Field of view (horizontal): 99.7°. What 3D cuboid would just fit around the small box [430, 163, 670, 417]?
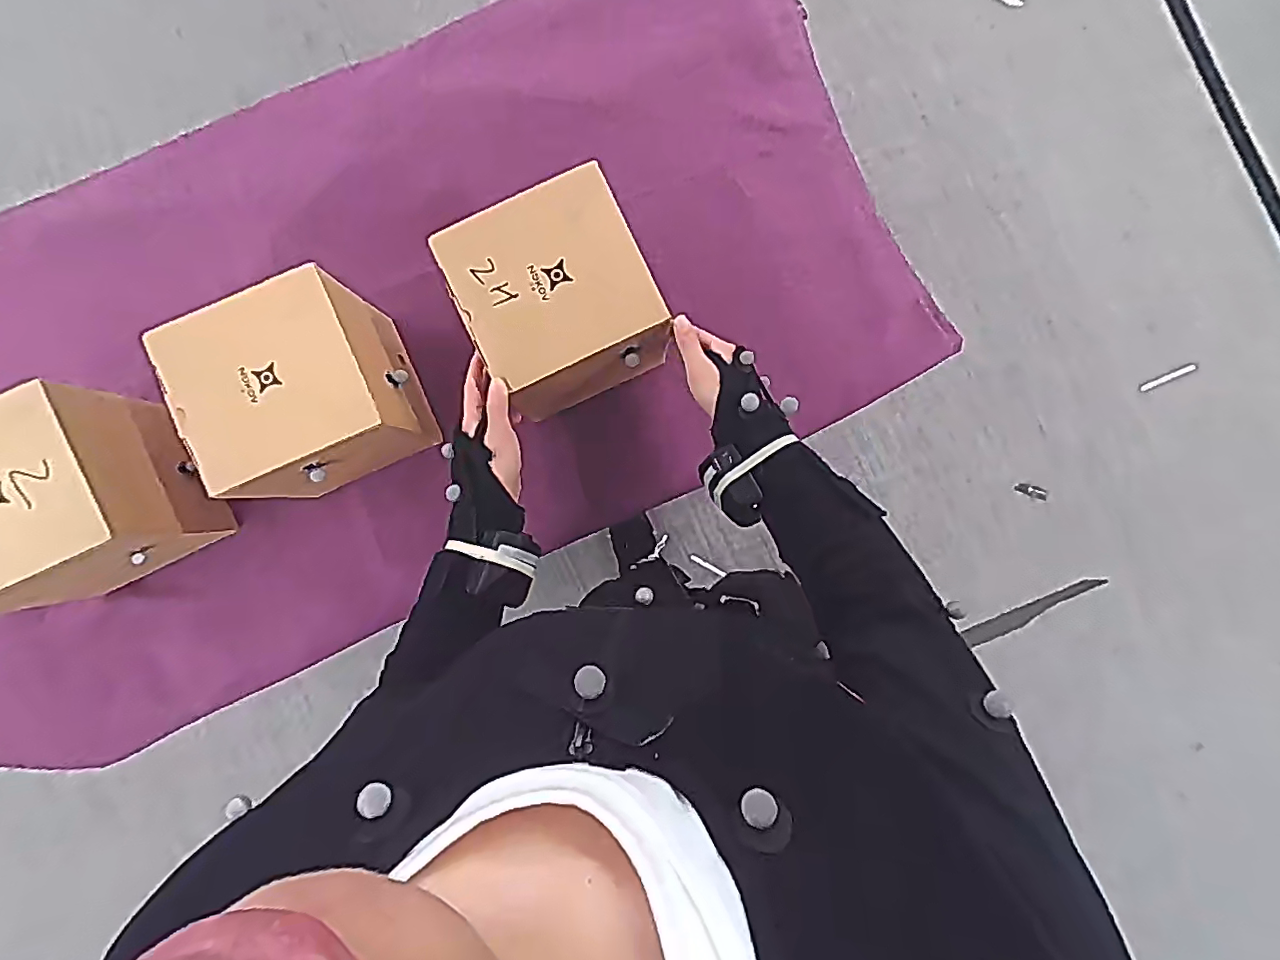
[{"bbox_3d":[-0.083,-0.182,0.573,0.179,0.176,0.168,-25,88,0],"label":"small box"}]

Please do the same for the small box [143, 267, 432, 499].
[{"bbox_3d":[-0.345,-0.090,0.575,0.179,0.176,0.168,-24,89,0],"label":"small box"}]
